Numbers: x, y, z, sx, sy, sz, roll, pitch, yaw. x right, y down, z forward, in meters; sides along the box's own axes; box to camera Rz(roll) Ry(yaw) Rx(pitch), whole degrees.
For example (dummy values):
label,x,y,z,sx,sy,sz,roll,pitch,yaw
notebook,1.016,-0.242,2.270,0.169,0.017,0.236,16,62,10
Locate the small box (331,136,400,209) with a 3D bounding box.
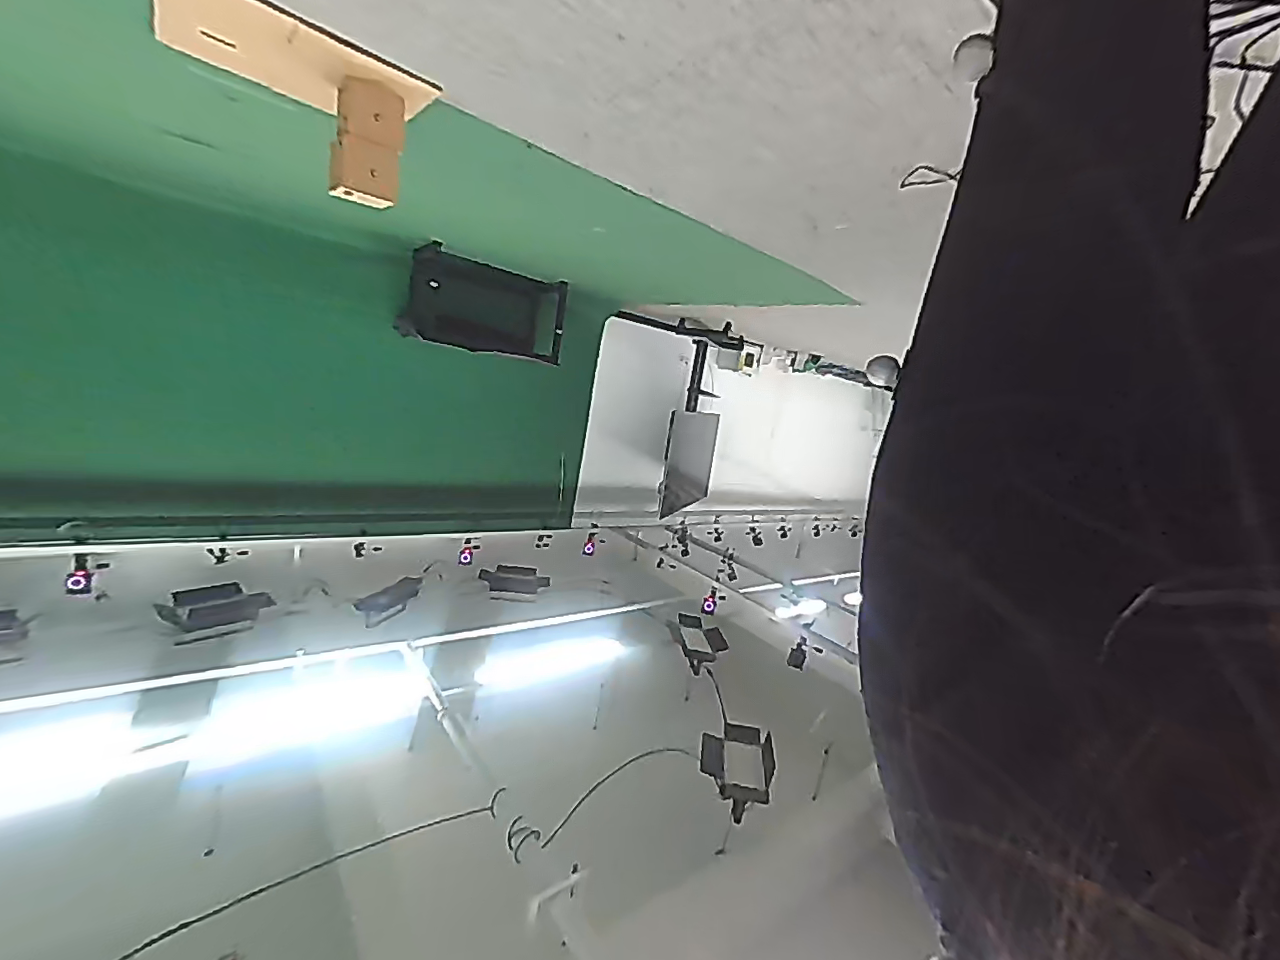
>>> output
label,x,y,z,sx,sy,sz,roll,pitch,yaw
small box,-0.946,-1.061,1.863,0.179,0.176,0.168,-2,-165,-43
